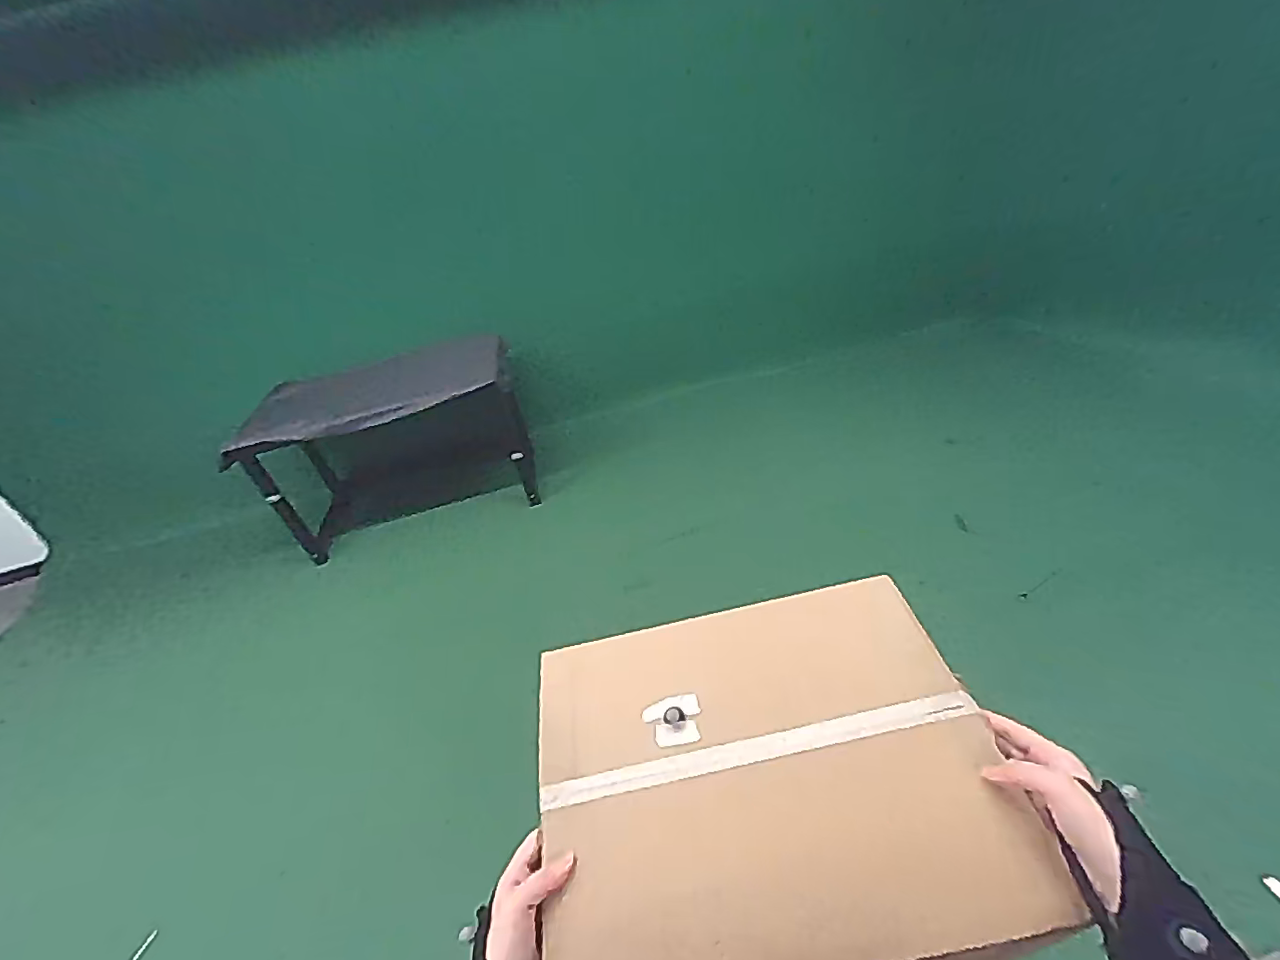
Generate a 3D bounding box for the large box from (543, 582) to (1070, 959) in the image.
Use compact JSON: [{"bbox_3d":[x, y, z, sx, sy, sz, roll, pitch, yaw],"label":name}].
[{"bbox_3d":[0.135,0.370,0.605,0.408,0.320,0.320,-15,41,3],"label":"large box"}]
